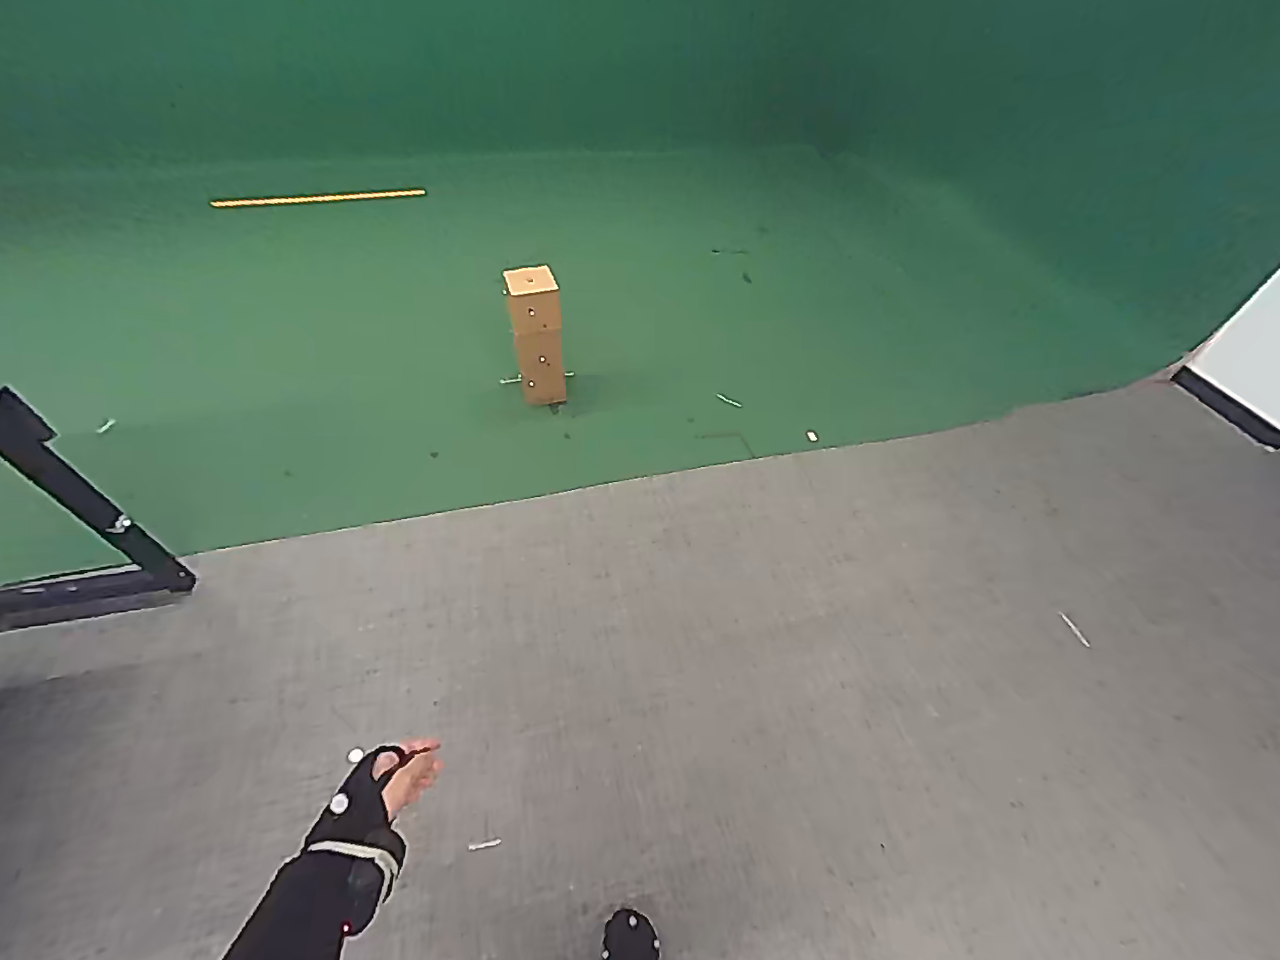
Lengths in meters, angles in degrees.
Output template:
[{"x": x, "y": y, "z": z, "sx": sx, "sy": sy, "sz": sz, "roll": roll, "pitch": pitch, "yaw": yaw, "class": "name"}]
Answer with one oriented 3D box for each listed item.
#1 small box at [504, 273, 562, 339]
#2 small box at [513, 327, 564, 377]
[{"x": -0.389, "y": -0.630, "z": 1.980, "sx": 0.168, "sy": 0.176, "sz": 0.179, "roll": -14, "pitch": 49, "yaw": -14, "class": "small box"}, {"x": -0.397, "y": -0.525, "z": 2.102, "sx": 0.168, "sy": 0.176, "sz": 0.179, "roll": -12, "pitch": 50, "yaw": -12, "class": "small box"}]
